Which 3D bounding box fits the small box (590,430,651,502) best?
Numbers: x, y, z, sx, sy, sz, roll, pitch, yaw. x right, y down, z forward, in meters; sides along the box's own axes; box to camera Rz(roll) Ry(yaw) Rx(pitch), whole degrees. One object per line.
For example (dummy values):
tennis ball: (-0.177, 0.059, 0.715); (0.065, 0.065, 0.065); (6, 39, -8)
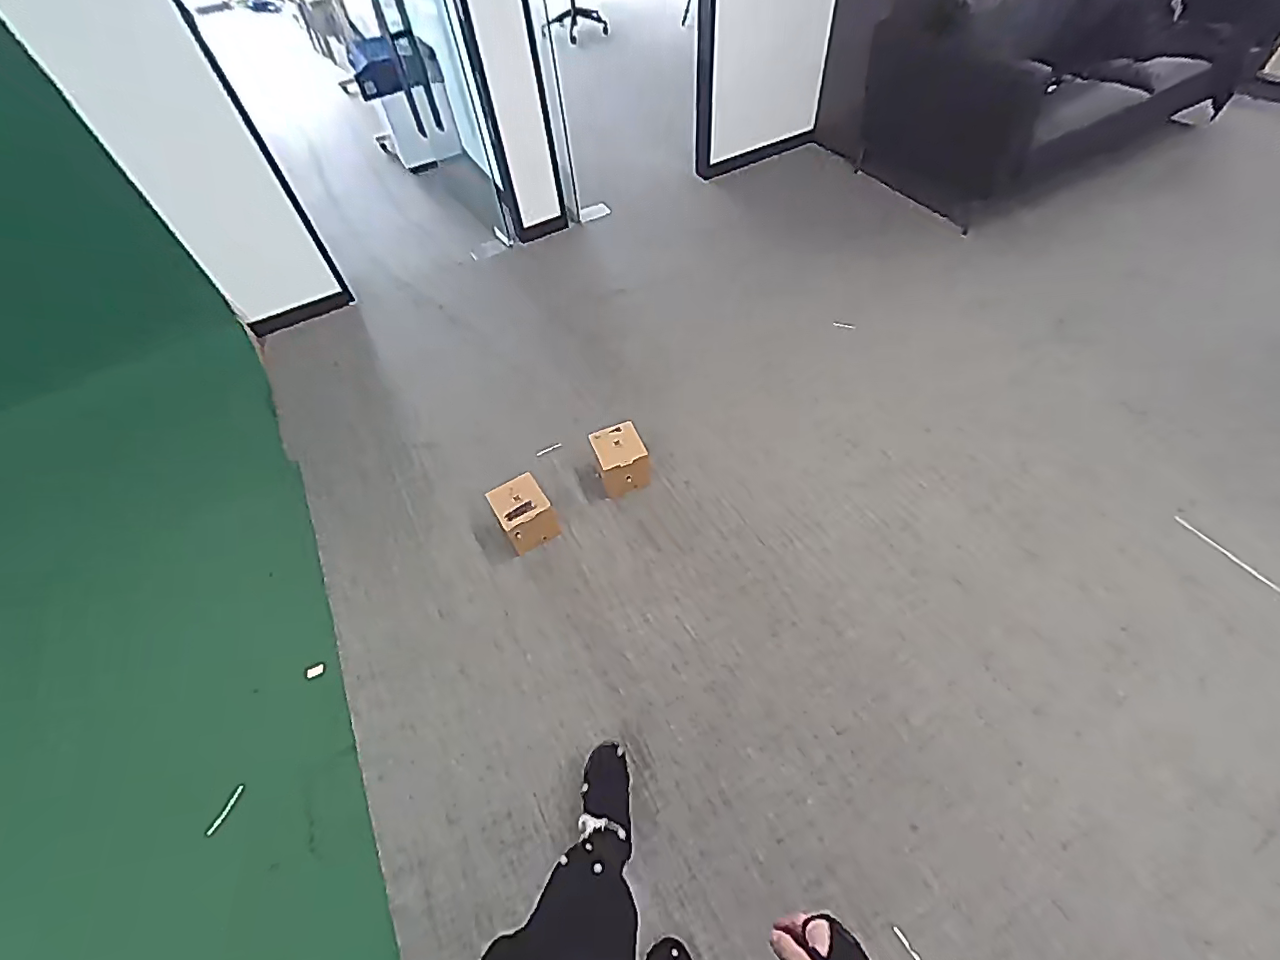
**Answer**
small box: (-0.065, -0.042, 1.930); (0.168, 0.176, 0.179); (-19, 55, -10)
